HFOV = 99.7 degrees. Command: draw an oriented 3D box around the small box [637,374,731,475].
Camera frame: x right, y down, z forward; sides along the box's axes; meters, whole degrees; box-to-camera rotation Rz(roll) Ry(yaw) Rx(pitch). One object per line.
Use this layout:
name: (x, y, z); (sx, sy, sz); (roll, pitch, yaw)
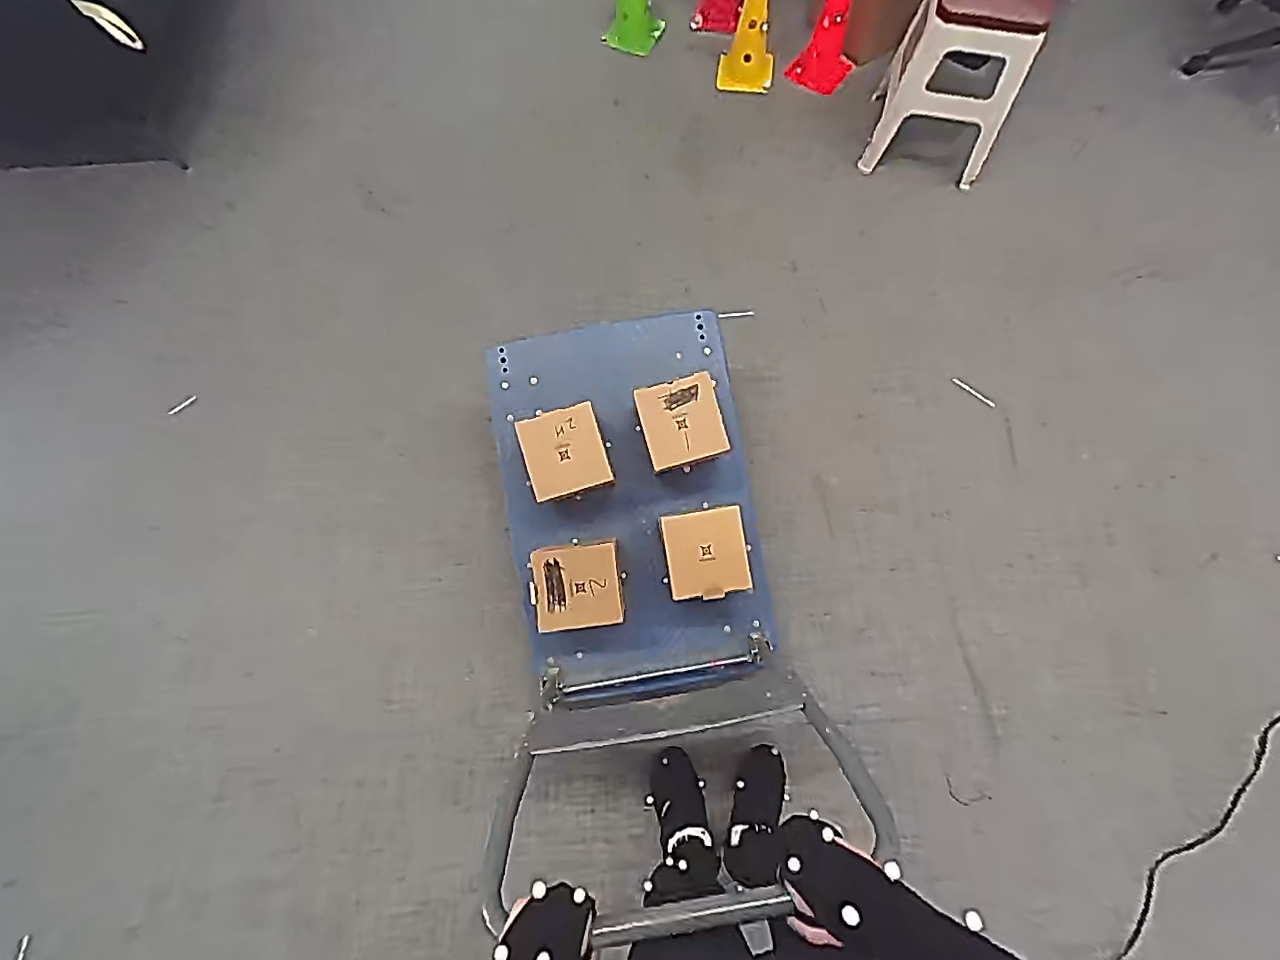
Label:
small box: (0.090, -0.117, 1.204); (0.168, 0.176, 0.179); (-15, 88, -1)

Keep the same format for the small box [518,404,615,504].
small box: (-0.155, -0.053, 1.199); (0.168, 0.176, 0.179); (-16, 88, -2)

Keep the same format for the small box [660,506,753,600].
small box: (0.139, 0.155, 1.194); (0.168, 0.176, 0.179); (-9, 89, -1)
